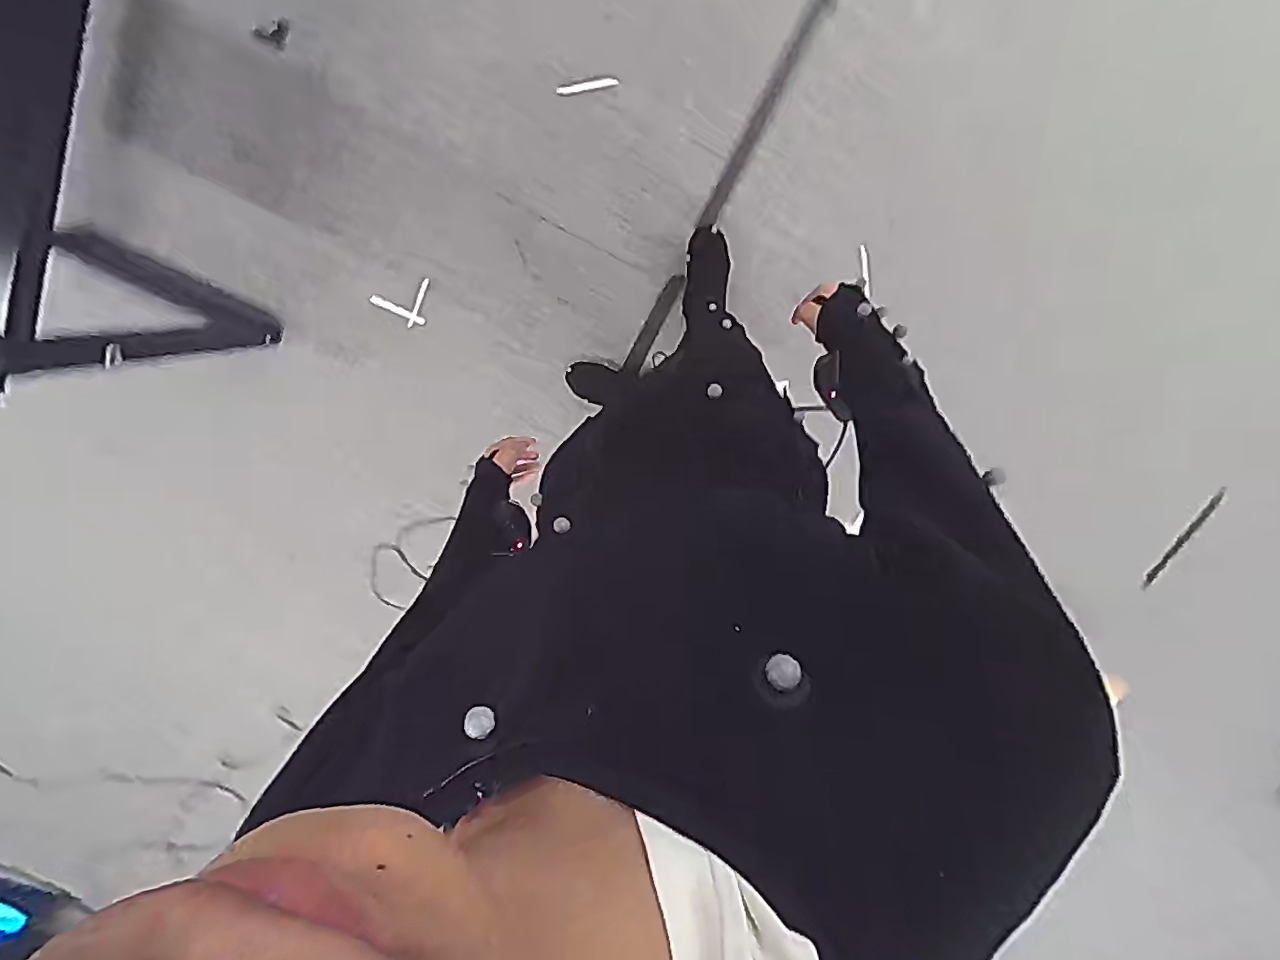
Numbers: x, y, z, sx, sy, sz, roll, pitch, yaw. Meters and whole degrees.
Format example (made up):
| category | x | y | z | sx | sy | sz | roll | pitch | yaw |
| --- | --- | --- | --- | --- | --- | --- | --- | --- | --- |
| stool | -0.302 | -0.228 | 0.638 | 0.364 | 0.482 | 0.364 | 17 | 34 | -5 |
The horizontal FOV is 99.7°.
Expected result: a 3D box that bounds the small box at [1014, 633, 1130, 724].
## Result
| category | x | y | z | sx | sy | sz | roll | pitch | yaw |
| --- | --- | --- | --- | --- | --- | --- | --- | --- | --- |
| small box | 1.281 | 0.586 | 1.619 | 0.179 | 0.176 | 0.168 | 22 | 107 | -10 |
